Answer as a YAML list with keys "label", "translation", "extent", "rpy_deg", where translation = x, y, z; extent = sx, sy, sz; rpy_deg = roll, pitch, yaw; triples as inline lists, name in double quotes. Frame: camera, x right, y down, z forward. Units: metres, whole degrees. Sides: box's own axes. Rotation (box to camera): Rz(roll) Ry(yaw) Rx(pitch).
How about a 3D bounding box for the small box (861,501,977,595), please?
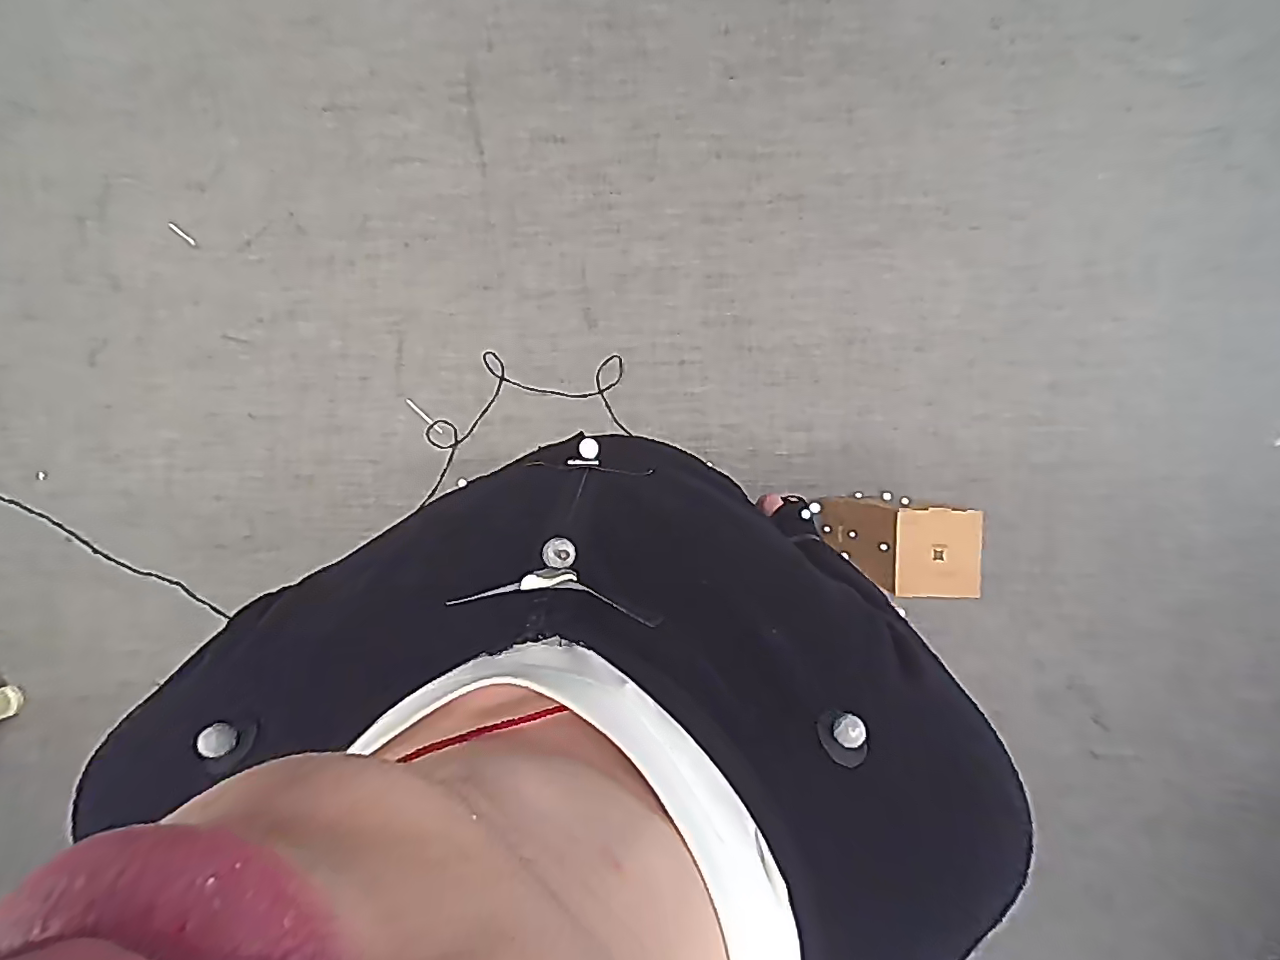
- label: "small box"
  translation: [0.588, 0.139, 1.160]
  extent: [0.168, 0.176, 0.179]
  rpy_deg: [0, 95, 2]

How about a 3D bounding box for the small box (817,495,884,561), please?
- label: "small box"
  translation: [0.599, 0.130, 1.505]
  extent: [0.179, 0.176, 0.168]
  rpy_deg: [-2, 93, 0]

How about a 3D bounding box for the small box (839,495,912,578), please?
- label: "small box"
  translation: [0.598, 0.136, 1.319]
  extent: [0.168, 0.176, 0.179]
  rpy_deg: [2, 94, -1]
